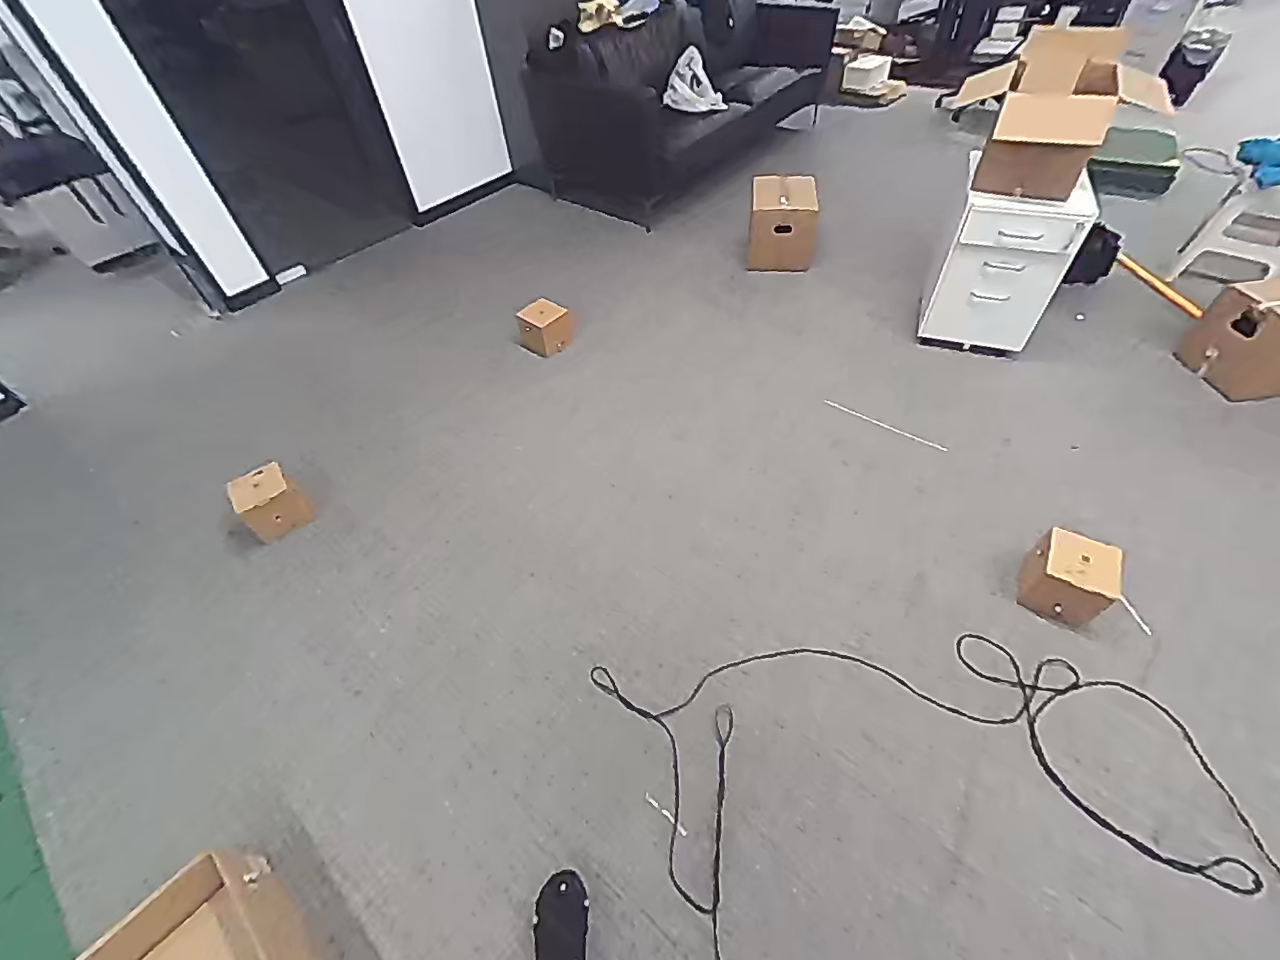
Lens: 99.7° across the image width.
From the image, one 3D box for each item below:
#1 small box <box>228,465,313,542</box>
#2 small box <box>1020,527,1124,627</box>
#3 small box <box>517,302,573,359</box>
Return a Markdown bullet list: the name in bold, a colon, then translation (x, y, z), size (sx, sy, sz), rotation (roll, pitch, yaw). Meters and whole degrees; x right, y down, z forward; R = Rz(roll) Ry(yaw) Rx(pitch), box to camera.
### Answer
- **small box**: translation (-1.260, 0.088, 1.851), size (0.168, 0.176, 0.179), rotation (-32, 54, -22)
- **small box**: translation (1.186, 0.269, 1.492), size (0.168, 0.176, 0.179), rotation (23, 55, 22)
- **small box**: translation (-0.431, -0.677, 2.463), size (0.179, 0.176, 0.168), rotation (32, 59, 26)
